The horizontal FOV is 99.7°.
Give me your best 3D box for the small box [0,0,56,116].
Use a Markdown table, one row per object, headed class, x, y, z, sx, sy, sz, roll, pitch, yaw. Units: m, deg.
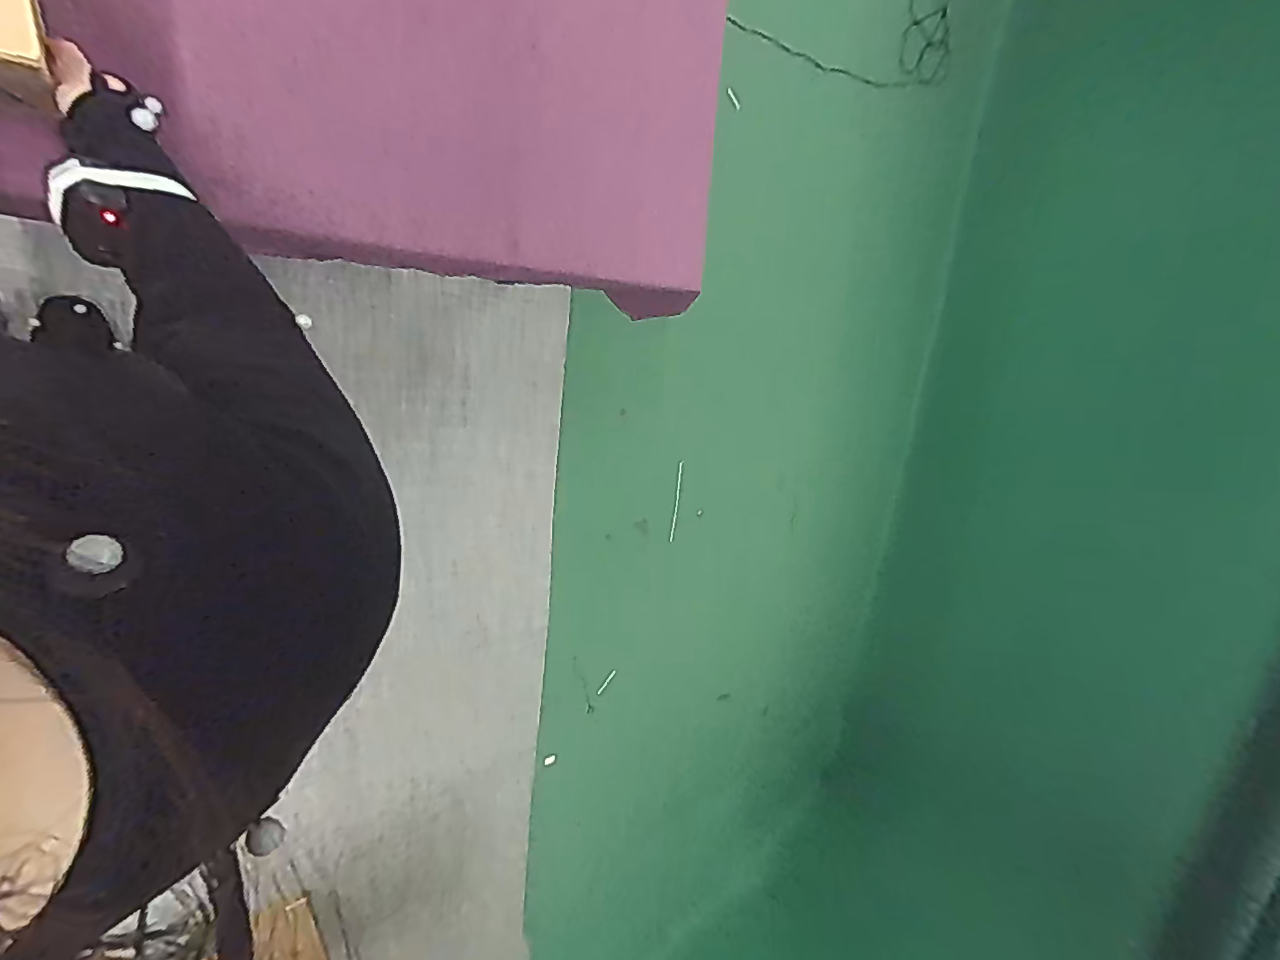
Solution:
| class | x | y | z | sx | sy | sz | roll | pitch | yaw |
| --- | --- | --- | --- | --- | --- | --- | --- | --- | --- |
| small box | -0.533 | -0.375 | 0.361 | 0.168 | 0.176 | 0.179 | -12 | 112 | -41 |
